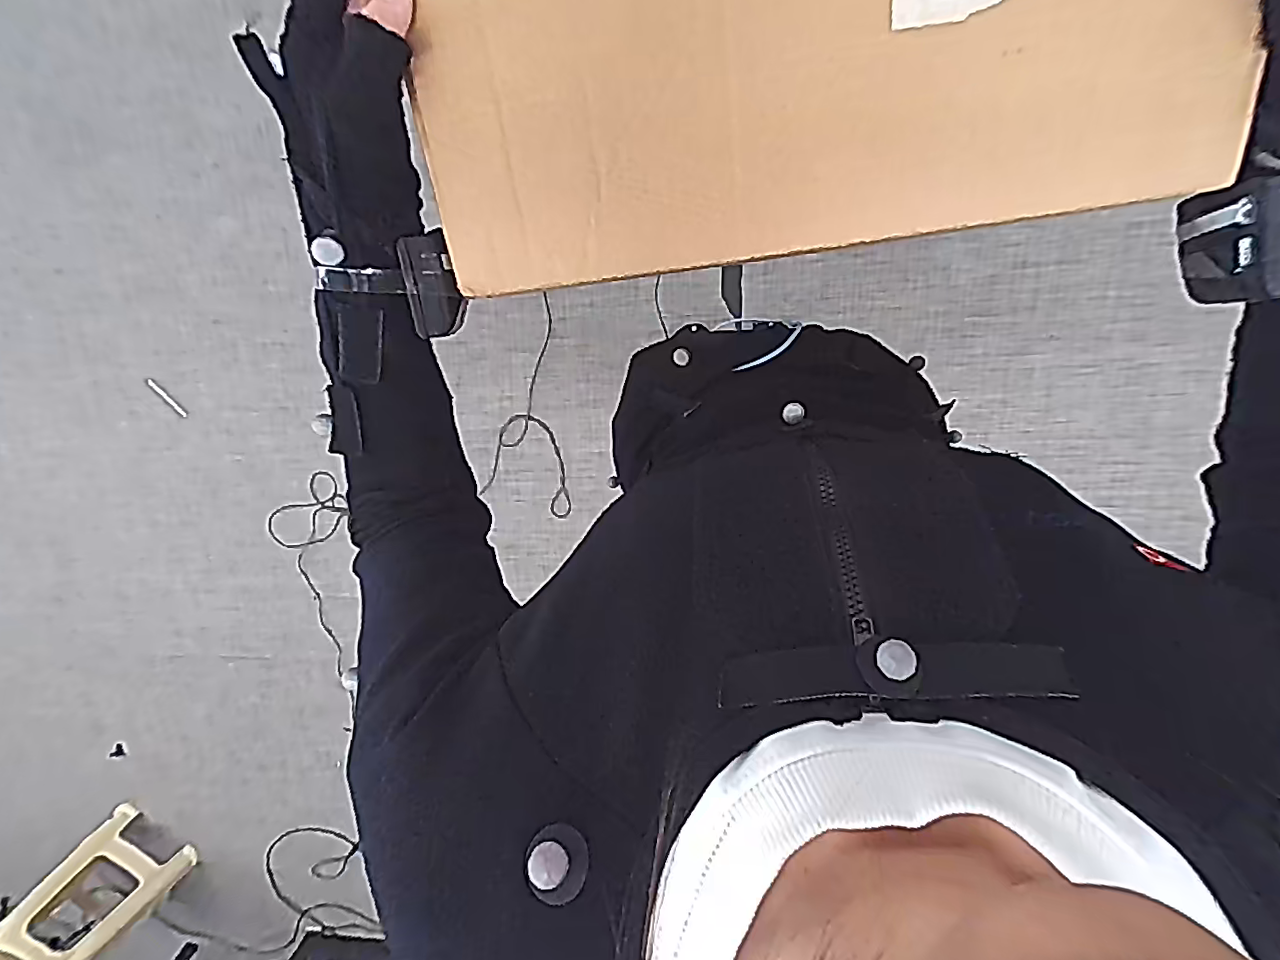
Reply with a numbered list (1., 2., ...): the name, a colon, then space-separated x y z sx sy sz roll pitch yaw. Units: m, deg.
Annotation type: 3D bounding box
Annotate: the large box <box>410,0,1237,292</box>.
1. large box: 0.084 -0.333 0.392 0.408 0.320 0.320 -6 112 8
